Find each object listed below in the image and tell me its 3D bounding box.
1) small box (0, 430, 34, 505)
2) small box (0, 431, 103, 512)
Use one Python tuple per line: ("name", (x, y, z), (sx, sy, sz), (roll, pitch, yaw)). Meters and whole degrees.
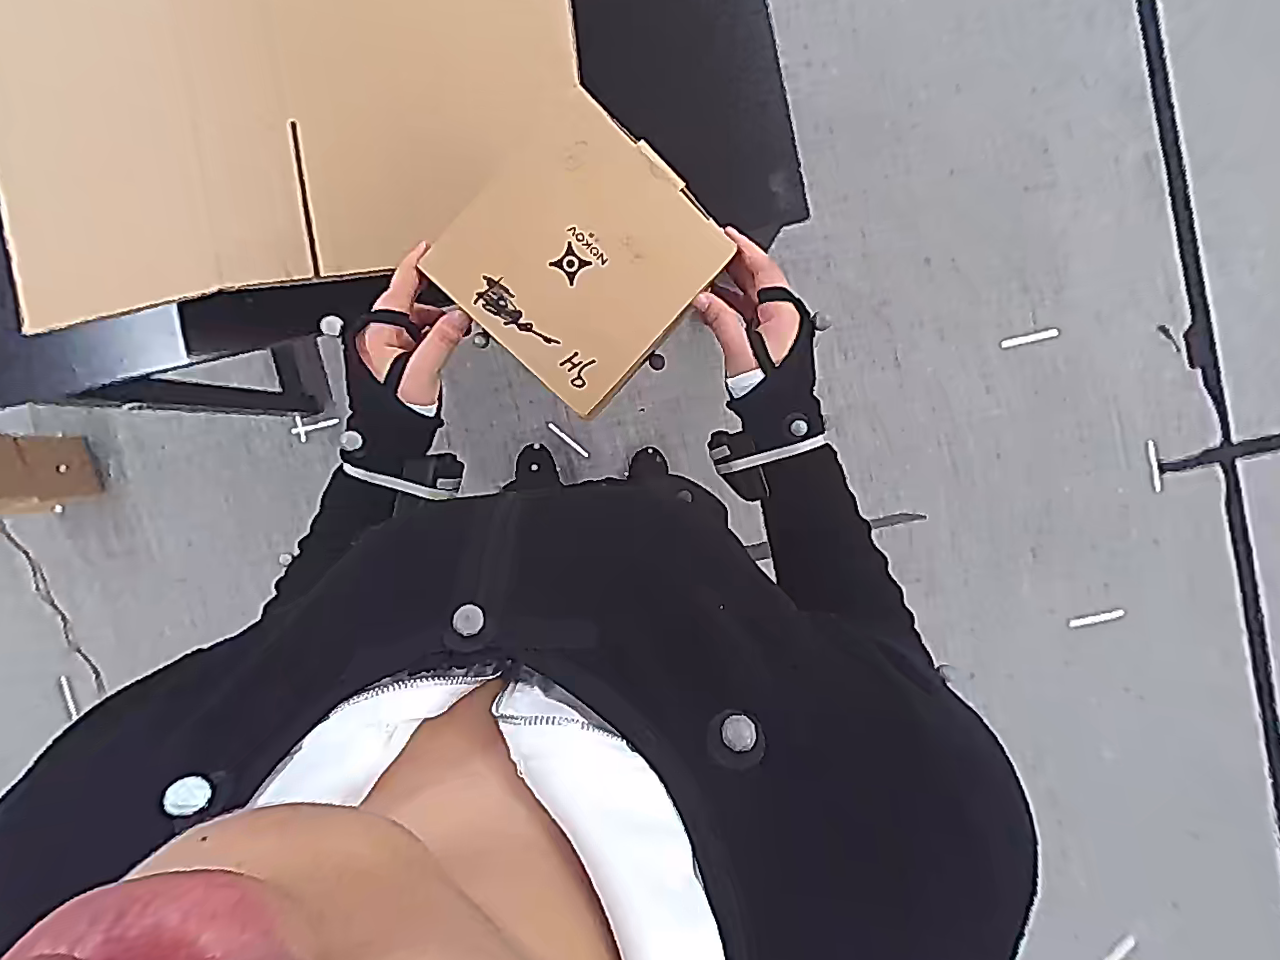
("small box", (-1.598, -0.016, 1.262), (0.168, 0.176, 0.179), (-19, 92, 1))
("small box", (-1.594, -0.022, 1.424), (0.168, 0.176, 0.179), (-16, 94, 2))
